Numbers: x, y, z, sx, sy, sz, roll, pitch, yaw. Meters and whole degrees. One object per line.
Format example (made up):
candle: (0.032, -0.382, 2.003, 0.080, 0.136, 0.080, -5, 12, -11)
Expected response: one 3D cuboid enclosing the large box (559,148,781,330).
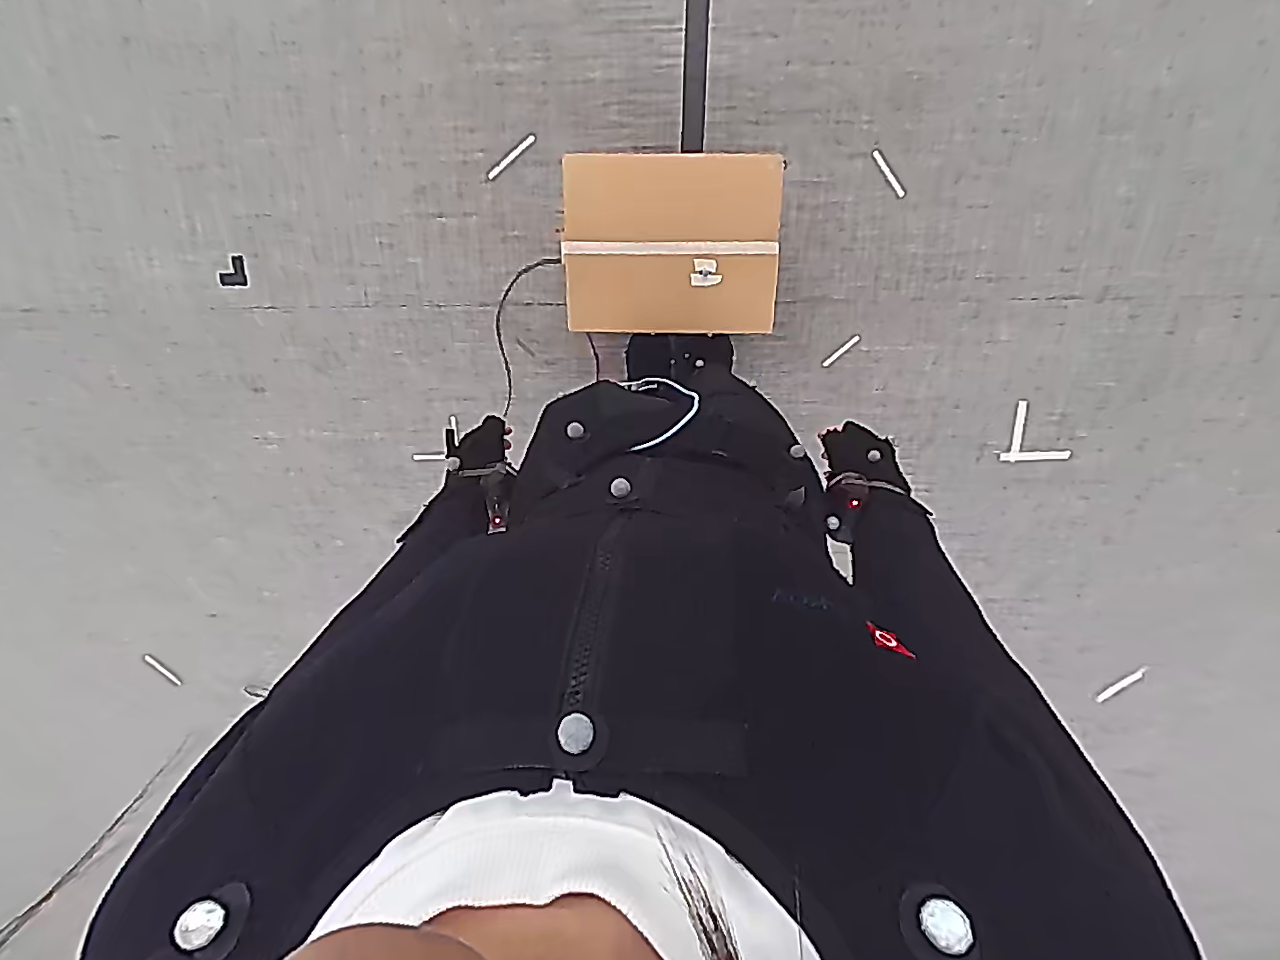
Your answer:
large box: (0.056, -0.491, 1.153, 0.408, 0.320, 0.320, 0, 109, 1)
